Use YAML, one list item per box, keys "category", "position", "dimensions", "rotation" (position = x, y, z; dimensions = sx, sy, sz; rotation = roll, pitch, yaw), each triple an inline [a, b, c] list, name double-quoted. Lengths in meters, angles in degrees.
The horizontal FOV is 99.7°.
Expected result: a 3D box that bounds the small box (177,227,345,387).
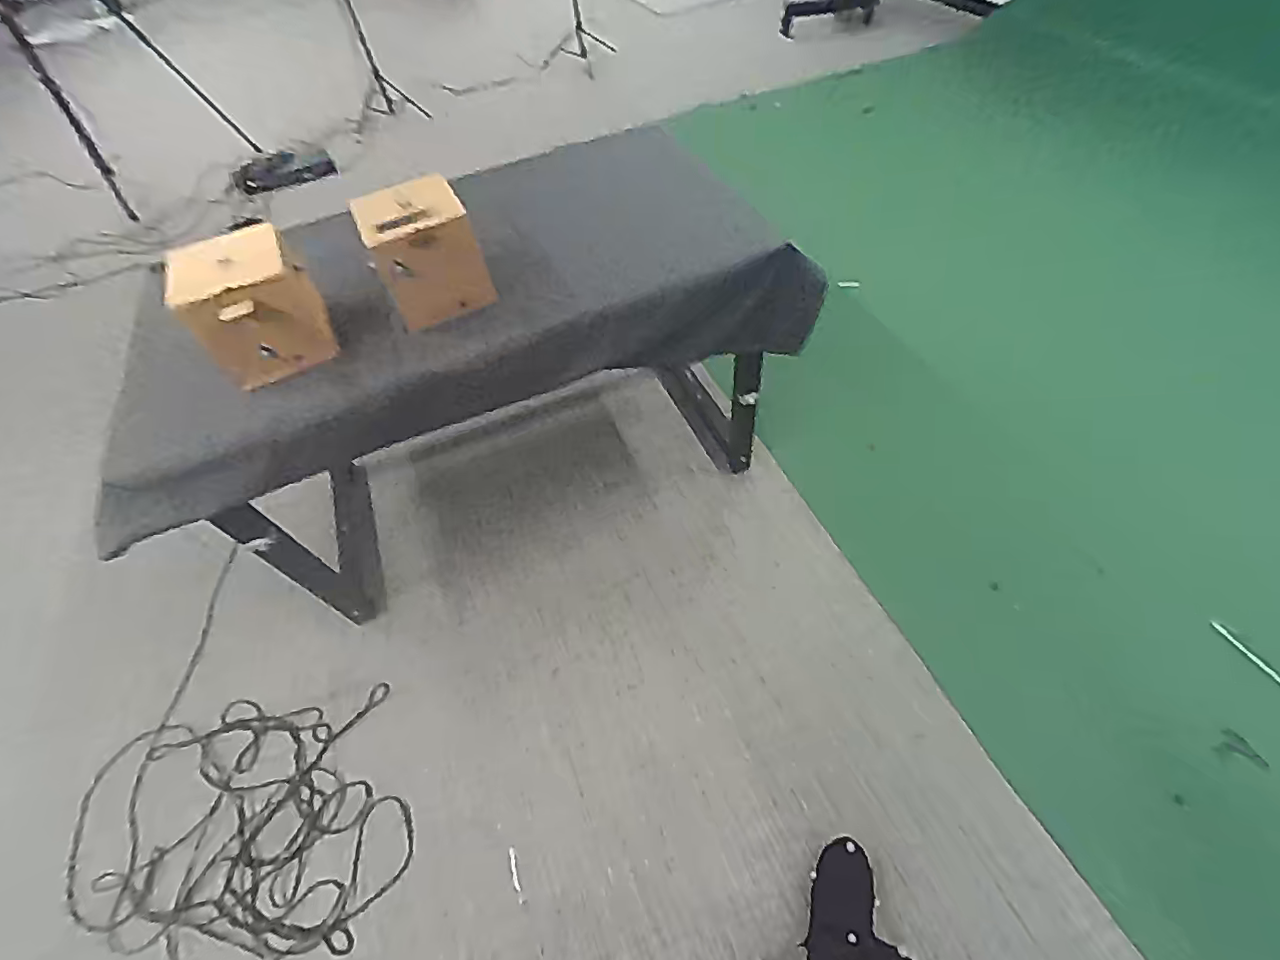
- category: "small box"
  position: [-0.630, -0.289, 0.912]
  dimensions: [0.168, 0.176, 0.179]
  rotation: [-25, 56, -13]
